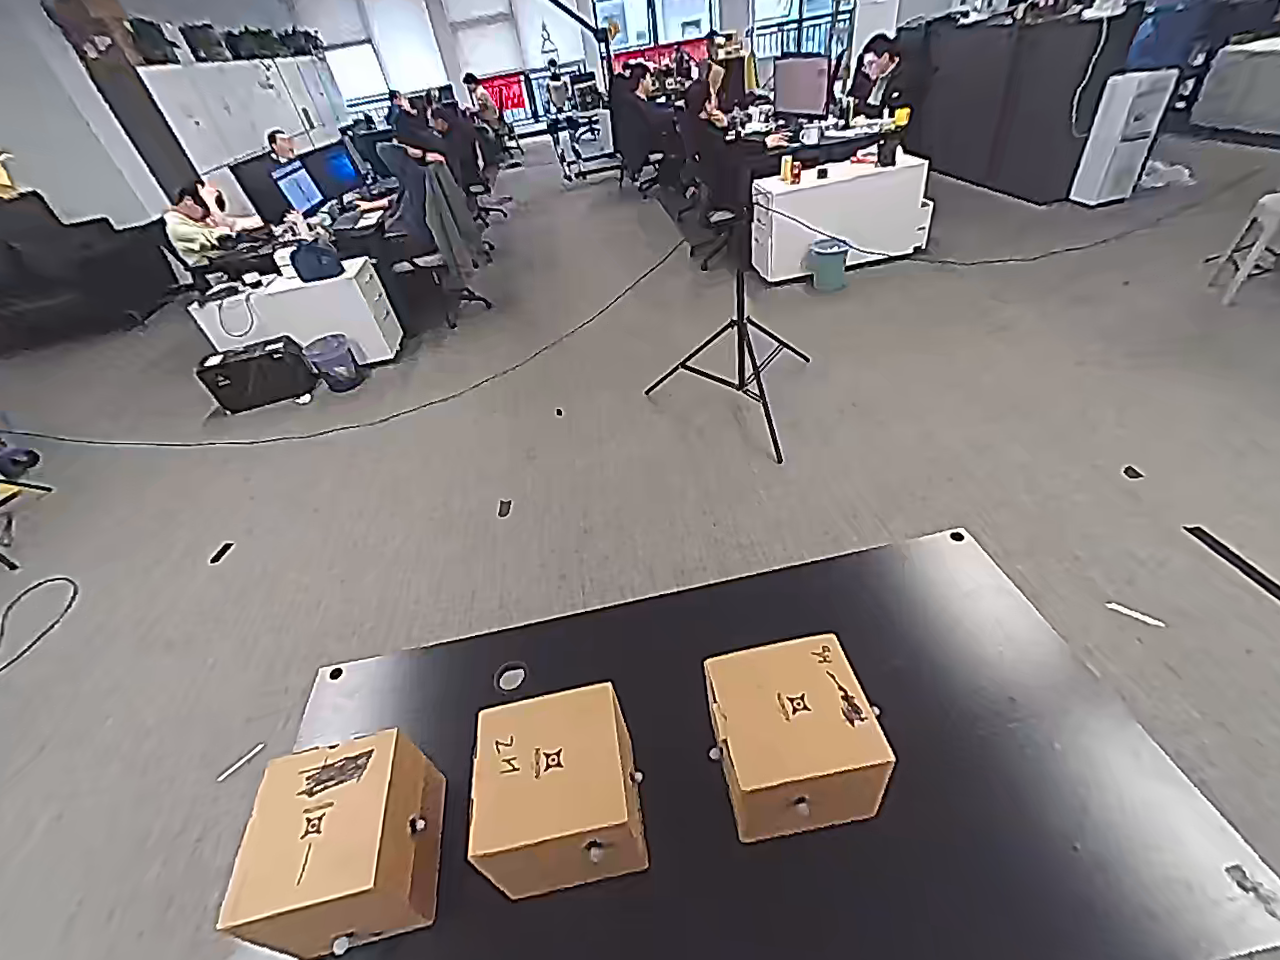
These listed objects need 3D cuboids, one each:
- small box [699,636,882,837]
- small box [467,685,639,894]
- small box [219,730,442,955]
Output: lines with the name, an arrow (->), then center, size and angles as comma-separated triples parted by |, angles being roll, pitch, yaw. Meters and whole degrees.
small box -> 0.185, 0.333, 0.698 | 0.179, 0.176, 0.168 | -12, 40, 0
small box -> -0.101, 0.393, 0.689 | 0.179, 0.176, 0.168 | -13, 40, -2
small box -> -0.362, 0.452, 0.678 | 0.168, 0.176, 0.179 | -13, 41, -3
